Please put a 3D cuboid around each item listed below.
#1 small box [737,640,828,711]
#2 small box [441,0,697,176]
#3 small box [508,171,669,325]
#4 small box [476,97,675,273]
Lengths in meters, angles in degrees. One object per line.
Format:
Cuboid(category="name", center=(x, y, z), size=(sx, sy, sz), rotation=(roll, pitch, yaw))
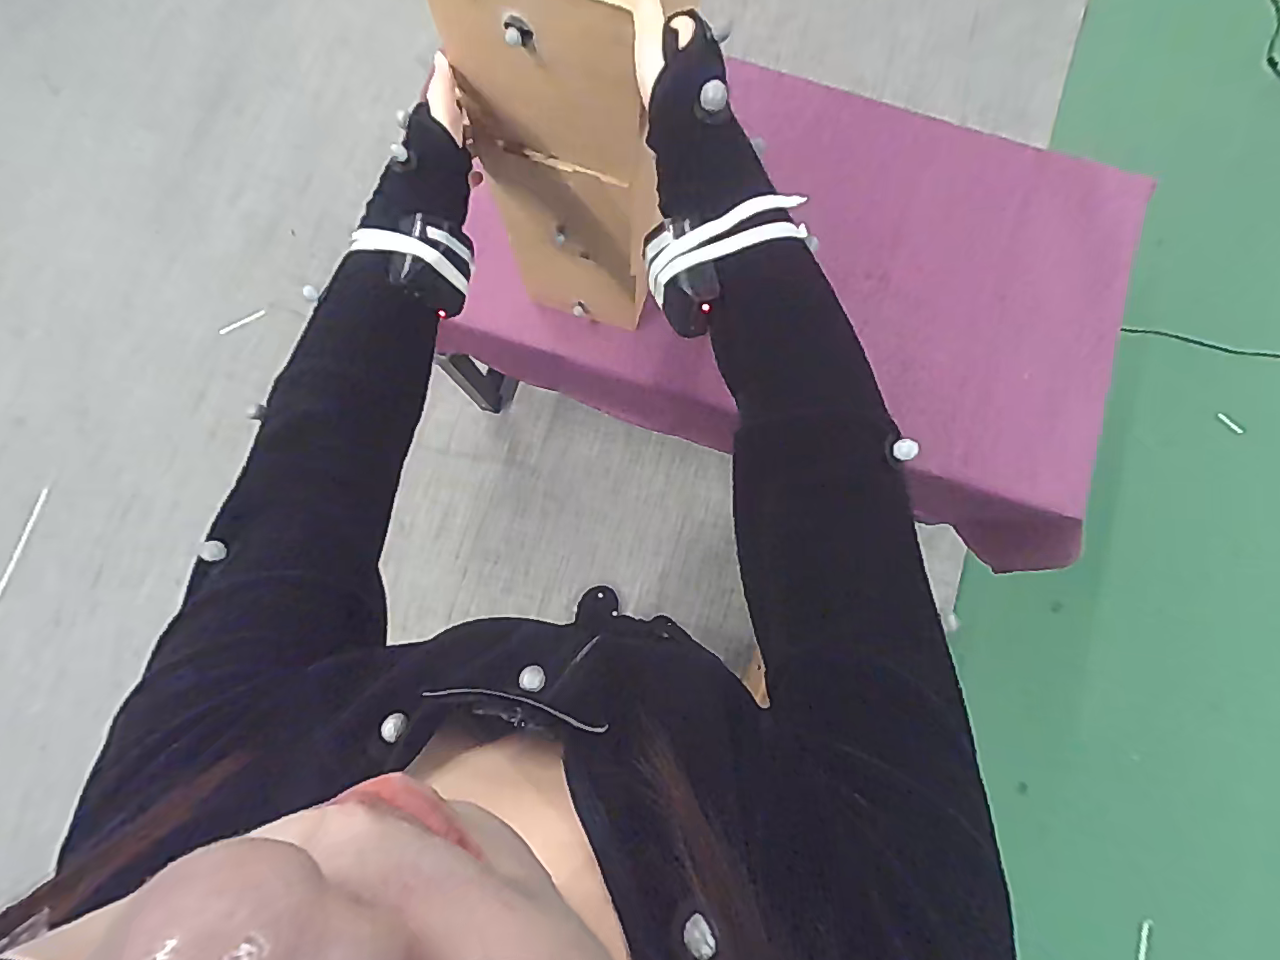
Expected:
Cuboid(category="small box", center=(0.370, 0.529, 1.408), size=(0.179, 0.176, 0.168), rotation=(22, 82, 1))
Cuboid(category="small box", center=(-0.055, -0.402, 0.461), size=(0.179, 0.176, 0.168), rotation=(20, 81, 1))
Cuboid(category="small box", center=(-0.069, -0.348, 0.786), size=(0.179, 0.176, 0.168), rotation=(17, 81, 0))
Cuboid(category="small box", center=(-0.063, -0.377, 0.624), size=(0.168, 0.176, 0.179), rotation=(18, 81, 2))
